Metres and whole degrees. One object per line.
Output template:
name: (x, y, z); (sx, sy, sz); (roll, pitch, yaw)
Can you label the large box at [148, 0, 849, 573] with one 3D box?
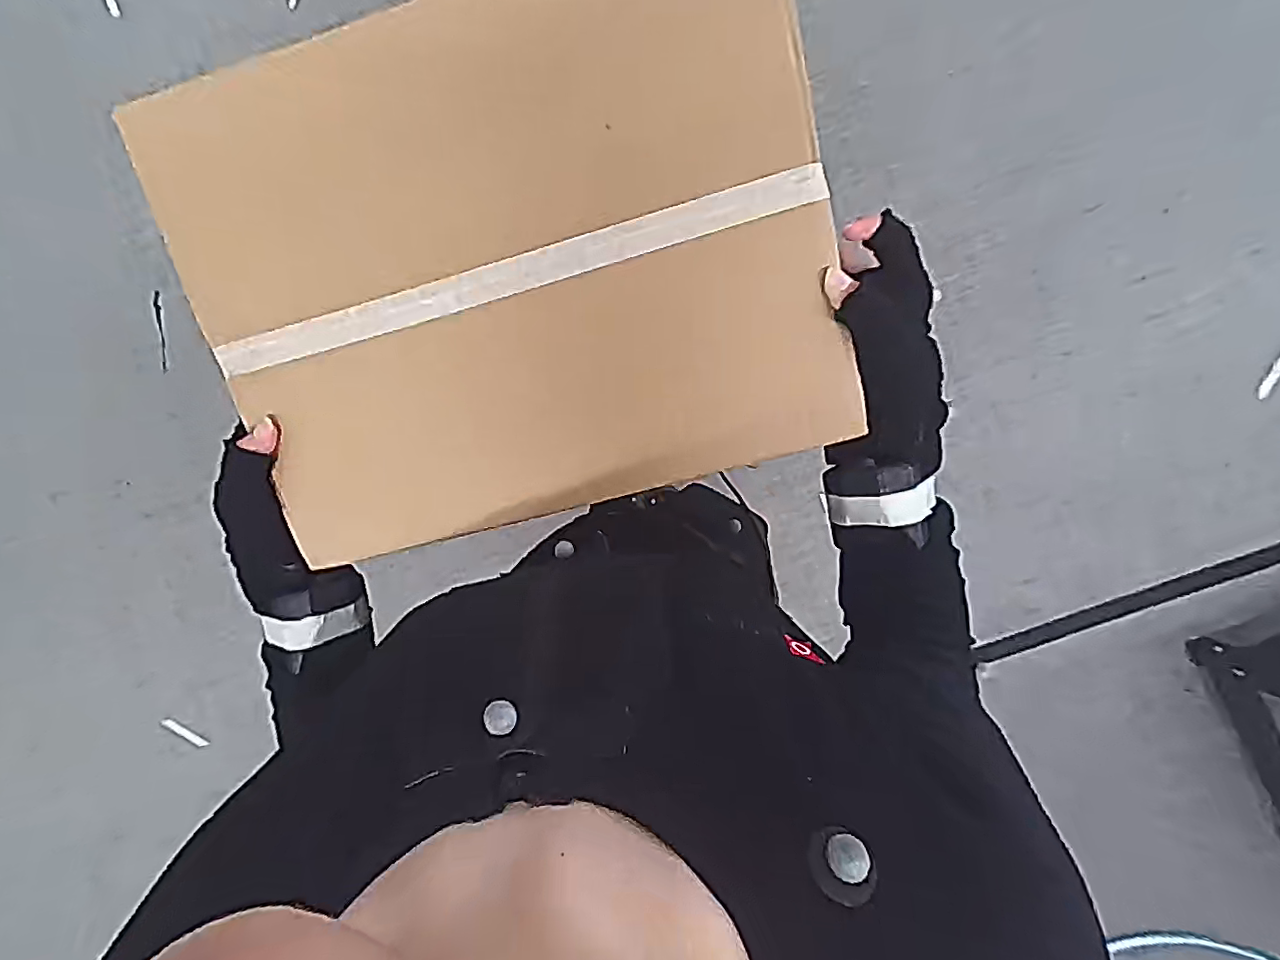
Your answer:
large box: (-0.079, -0.158, 0.500); (0.408, 0.320, 0.320); (-14, 102, 7)
